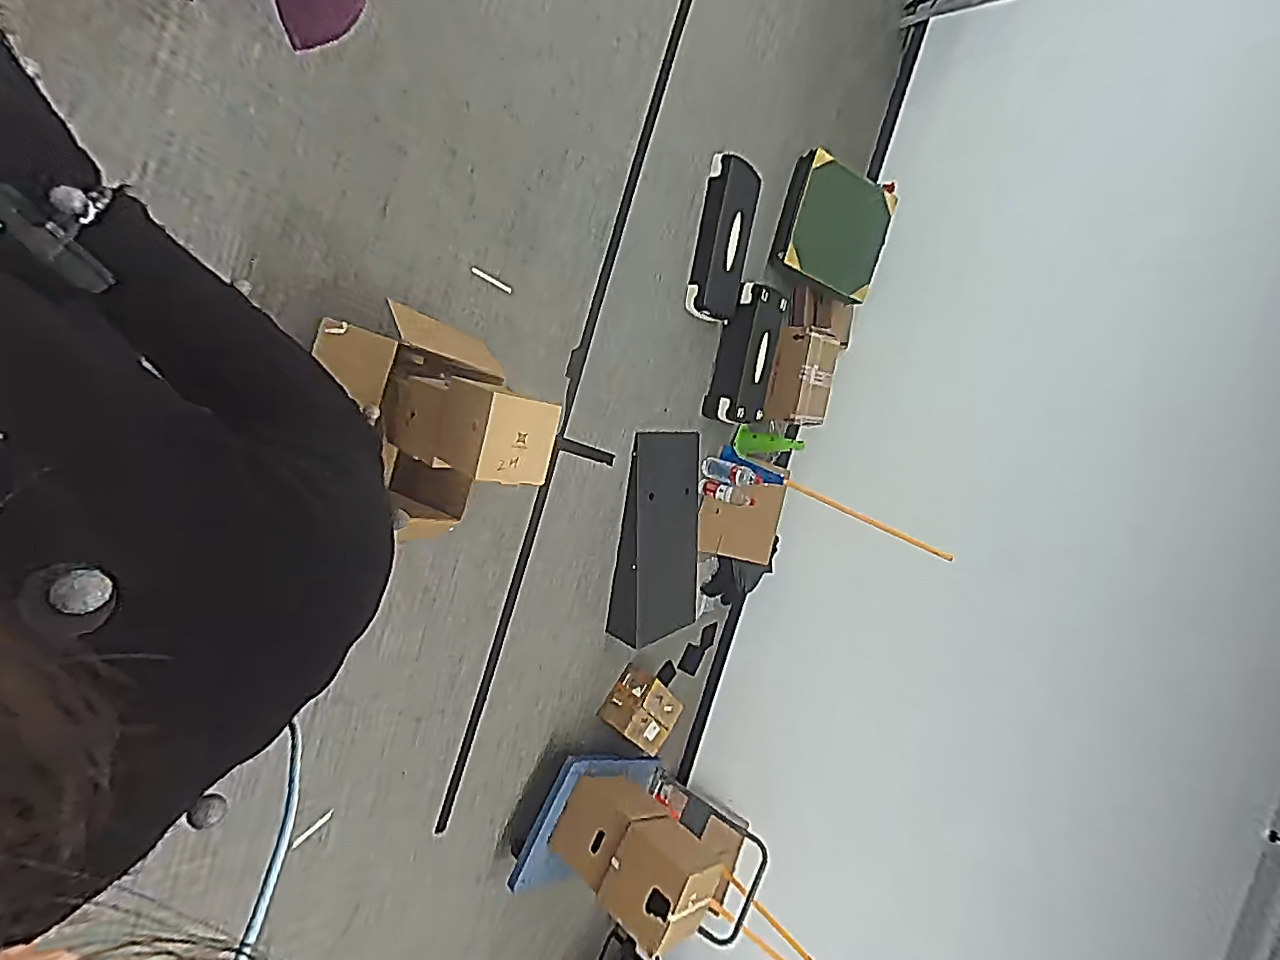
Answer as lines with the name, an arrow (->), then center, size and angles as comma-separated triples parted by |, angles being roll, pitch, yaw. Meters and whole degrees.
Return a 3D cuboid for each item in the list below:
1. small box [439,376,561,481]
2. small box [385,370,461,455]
small box -> -0.294, -0.108, 1.120 | 0.168, 0.176, 0.179 | 5, 104, -47
small box -> -0.522, -0.177, 1.351 | 0.168, 0.176, 0.179 | -15, 119, -44
